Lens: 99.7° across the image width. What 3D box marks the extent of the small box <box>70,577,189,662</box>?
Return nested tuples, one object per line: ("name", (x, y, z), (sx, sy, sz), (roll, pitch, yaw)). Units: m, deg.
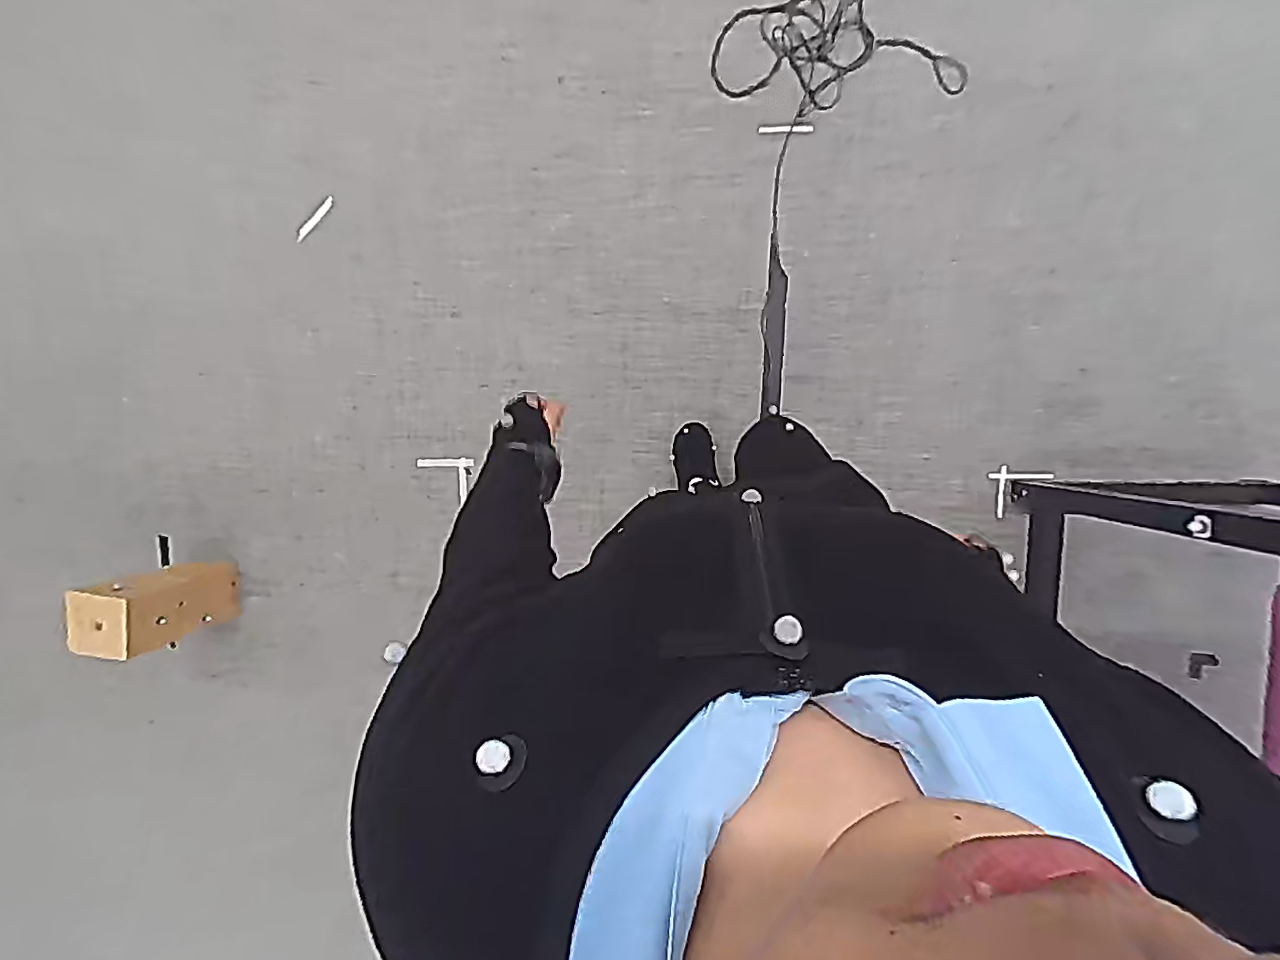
("small box", (-1.363, 0.368, 1.455), (0.179, 0.176, 0.168), (6, 96, 7))
